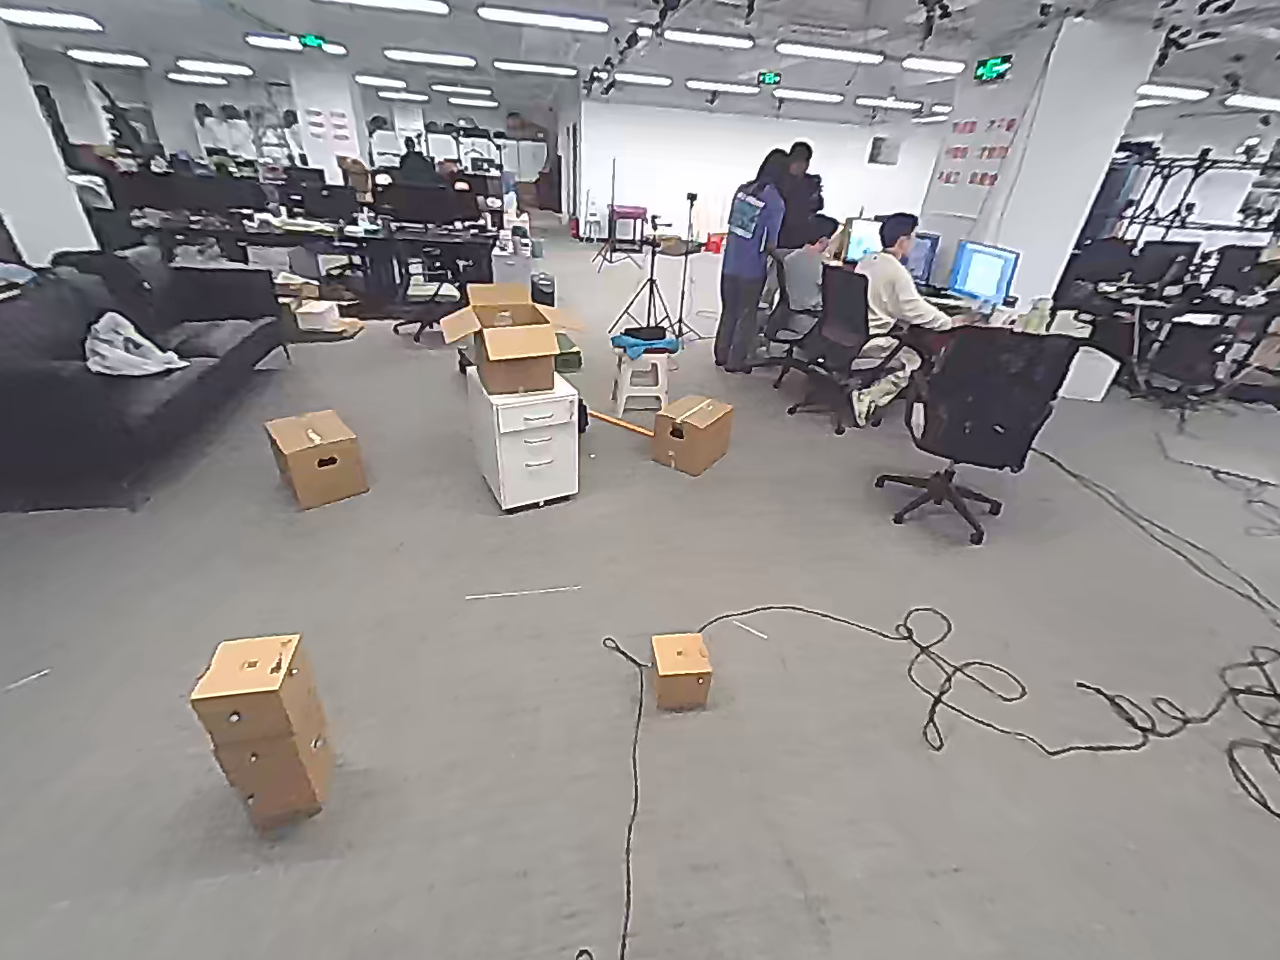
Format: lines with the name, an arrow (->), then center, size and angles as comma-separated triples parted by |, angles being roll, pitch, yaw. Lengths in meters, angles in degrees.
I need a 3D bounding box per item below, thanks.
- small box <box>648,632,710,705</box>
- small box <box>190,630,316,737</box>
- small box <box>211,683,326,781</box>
small box -> 0.122, 0.630, 1.805 | 0.179, 0.176, 0.168 | 0, 31, -10
small box -> -0.908, 0.485, 1.288 | 0.179, 0.176, 0.168 | -3, 32, -12
small box -> -0.923, 0.630, 1.364 | 0.179, 0.176, 0.168 | -2, 32, -13
